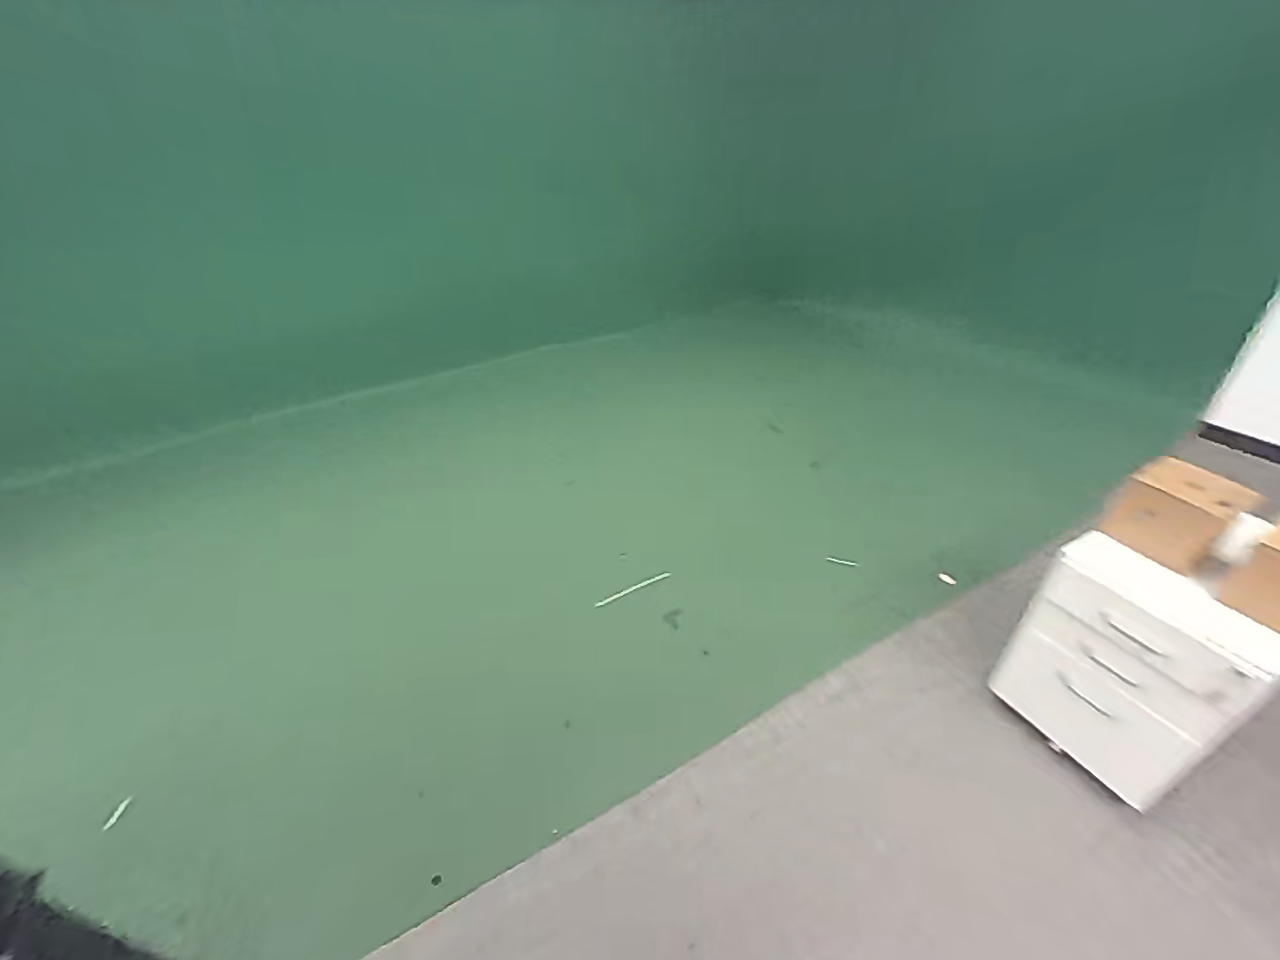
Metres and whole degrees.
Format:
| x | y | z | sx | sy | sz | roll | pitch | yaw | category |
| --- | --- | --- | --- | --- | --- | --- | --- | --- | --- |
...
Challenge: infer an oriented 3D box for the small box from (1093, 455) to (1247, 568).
| x | y | z | sx | sy | sz | roll | pitch | yaw | category |
| --- | --- | --- | --- | --- | --- | --- | --- | --- | --- |
| 1.215 | 0.073 | 1.255 | 0.168 | 0.176 | 0.179 | -20 | 40 | -21 | small box |
